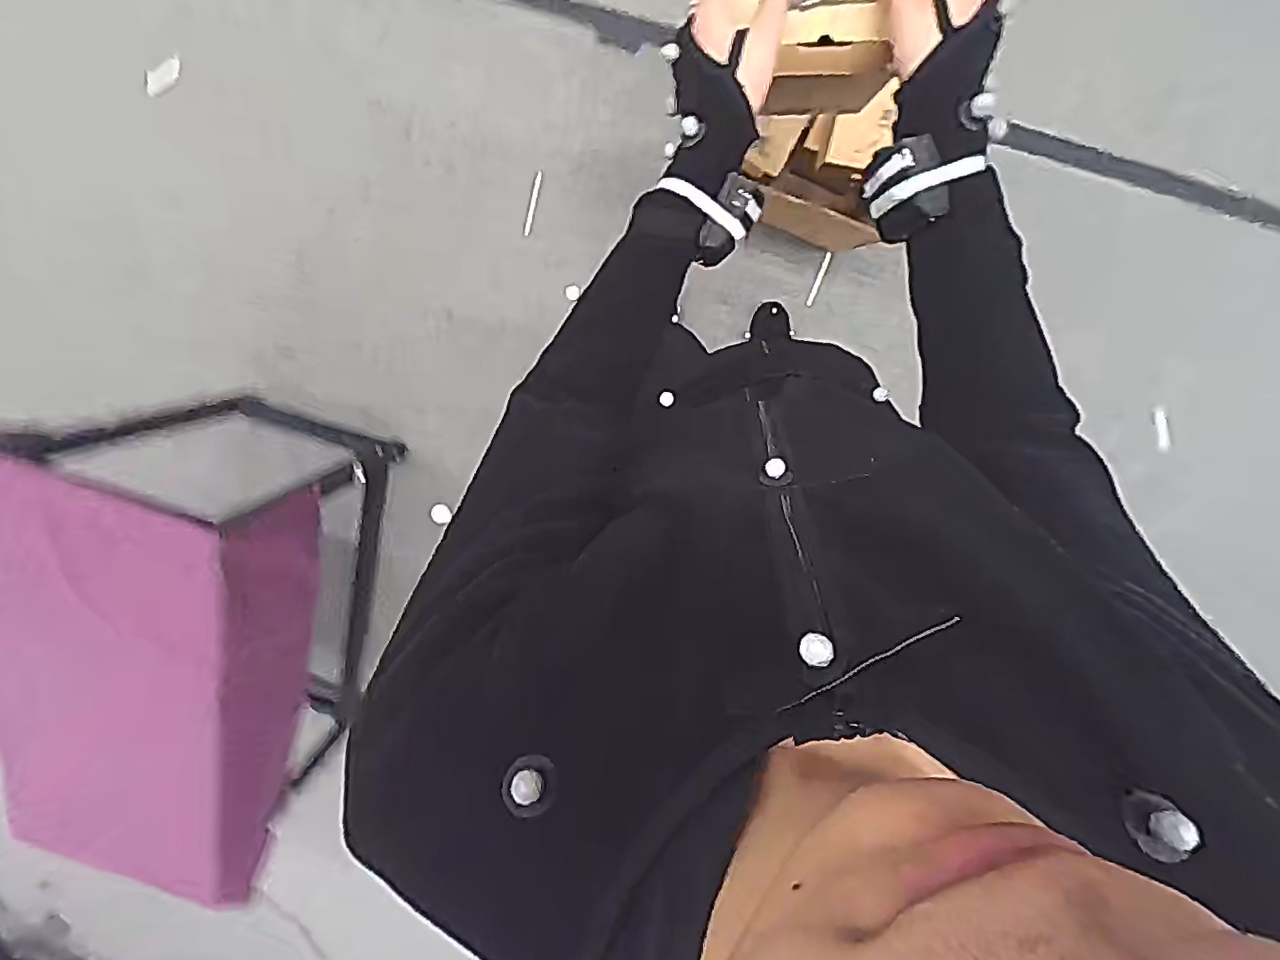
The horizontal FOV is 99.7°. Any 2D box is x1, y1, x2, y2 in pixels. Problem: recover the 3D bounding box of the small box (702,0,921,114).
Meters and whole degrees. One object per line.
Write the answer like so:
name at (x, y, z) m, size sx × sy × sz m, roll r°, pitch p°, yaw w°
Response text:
small box at (0.144, -0.451, 0.486) m, size 0.168 × 0.176 × 0.179 m, roll 0°, pitch 108°, yaw 4°
